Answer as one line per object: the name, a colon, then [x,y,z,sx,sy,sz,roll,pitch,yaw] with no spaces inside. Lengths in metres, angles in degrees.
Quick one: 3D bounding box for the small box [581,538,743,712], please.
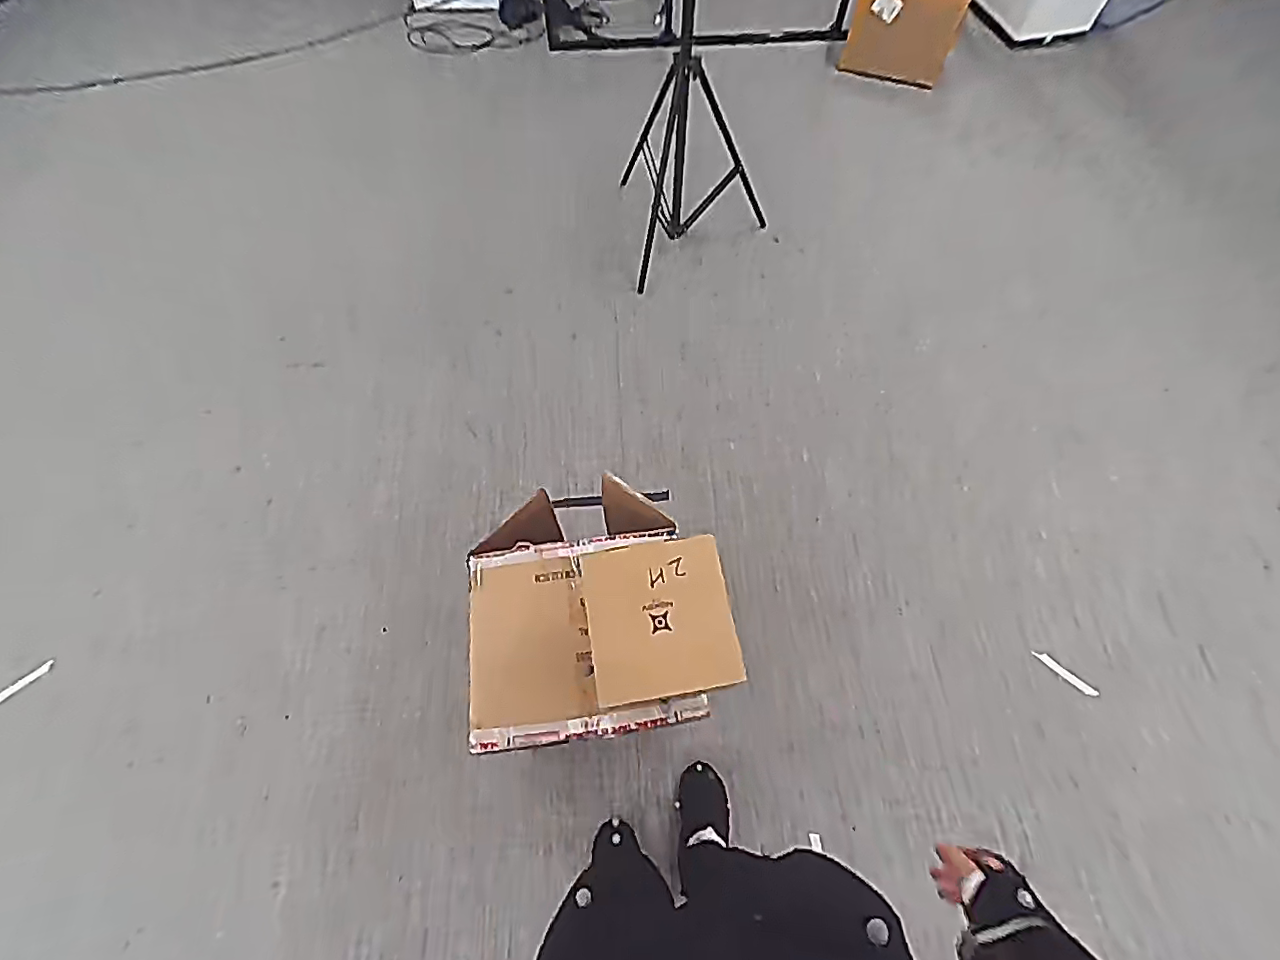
small box: [0.021,0.191,0.692,0.168,0.176,0.179,-8,66,-6]
